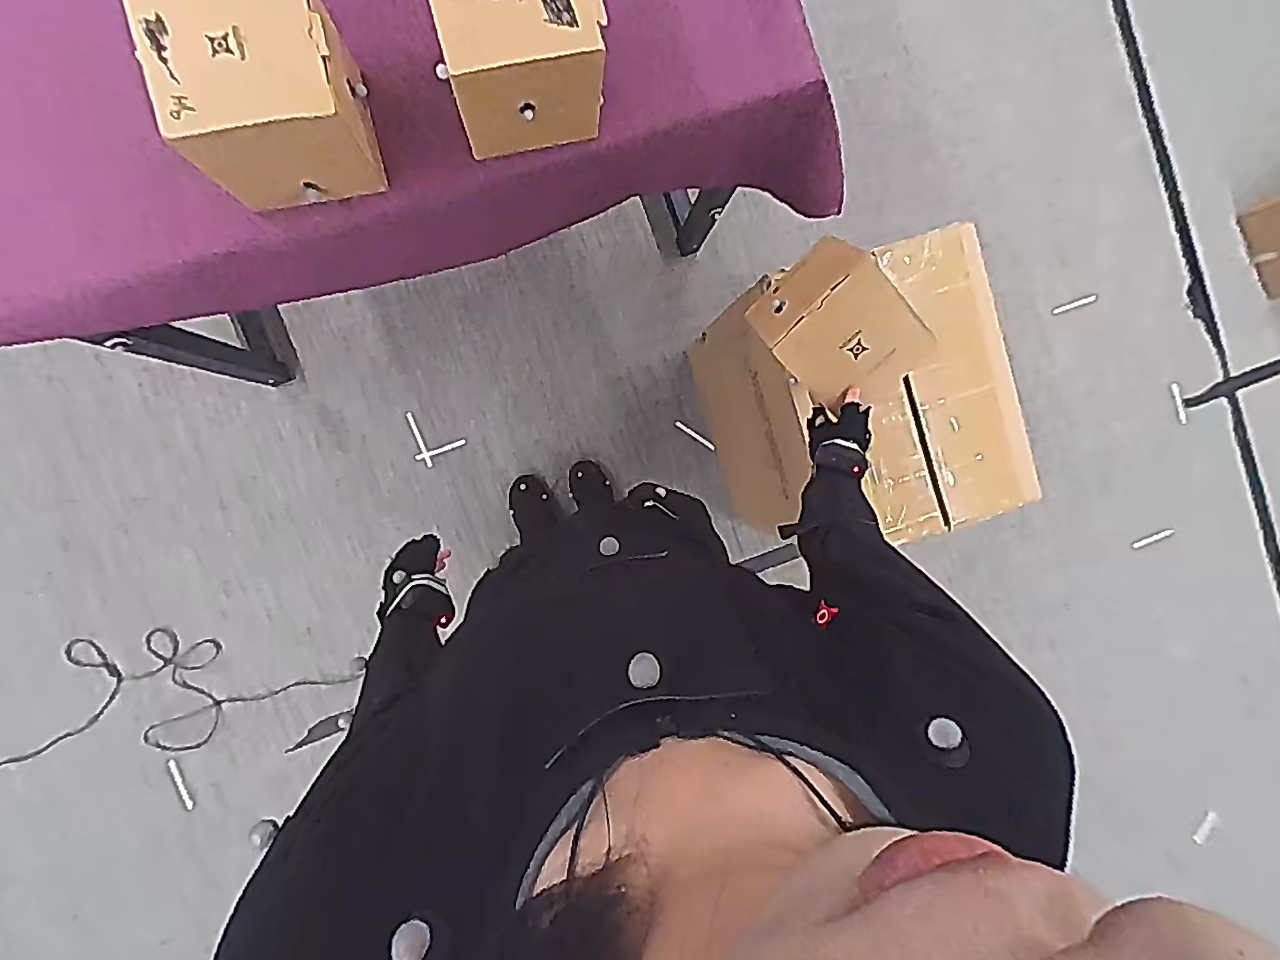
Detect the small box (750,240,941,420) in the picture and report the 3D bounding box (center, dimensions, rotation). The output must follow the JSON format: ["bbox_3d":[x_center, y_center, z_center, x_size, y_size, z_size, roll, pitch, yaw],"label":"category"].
[{"bbox_3d":[0.287,-0.226,0.792,0.179,0.176,0.168,36,115,-24],"label":"small box"}]

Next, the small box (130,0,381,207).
[{"bbox_3d":[-0.425,-0.449,0.633,0.179,0.176,0.168,-14,93,-7],"label":"small box"}]

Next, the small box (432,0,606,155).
[{"bbox_3d":[-0.149,-0.538,0.666,0.179,0.176,0.168,-15,93,-6],"label":"small box"}]
